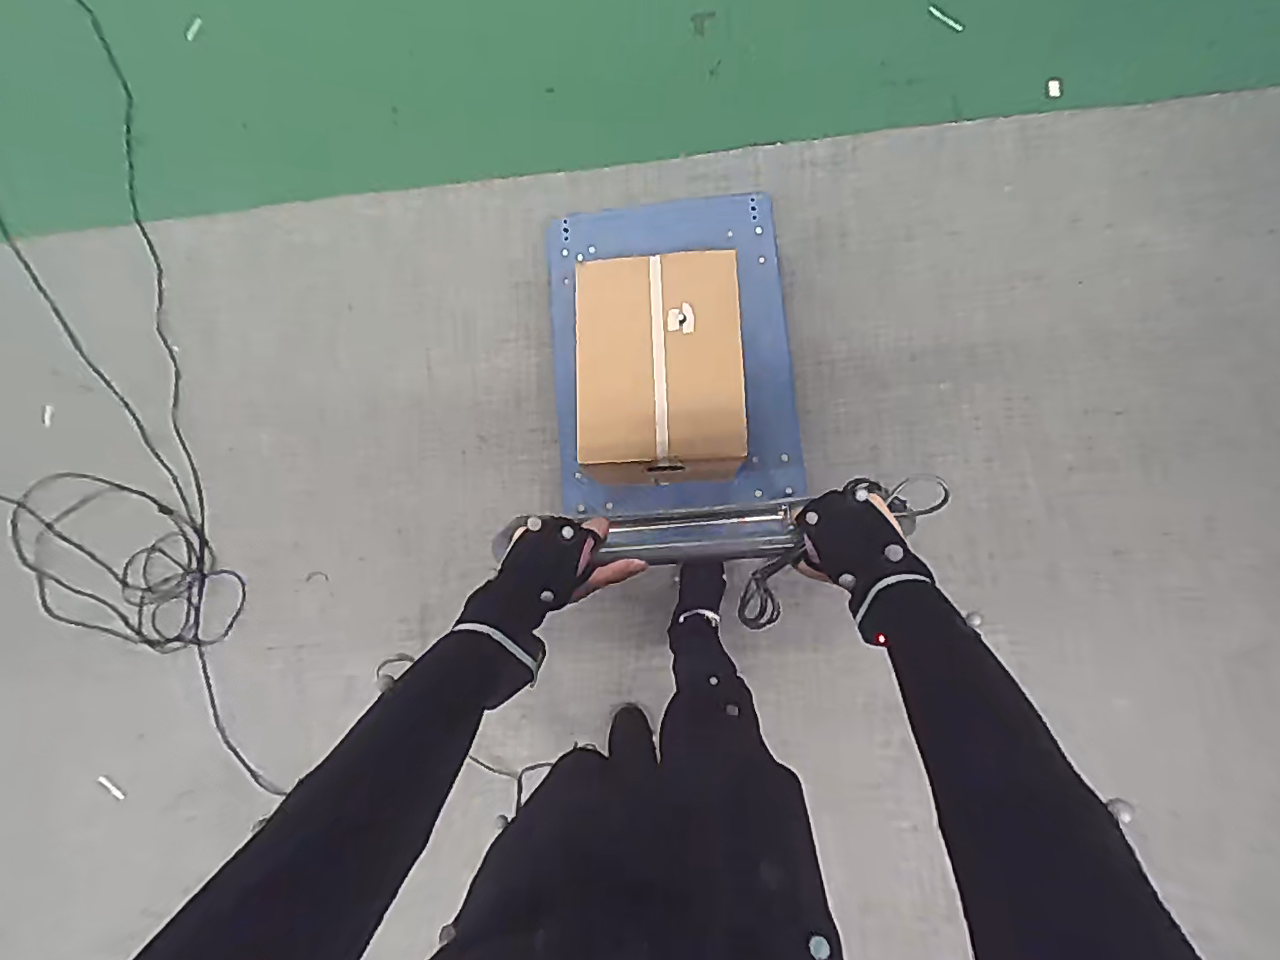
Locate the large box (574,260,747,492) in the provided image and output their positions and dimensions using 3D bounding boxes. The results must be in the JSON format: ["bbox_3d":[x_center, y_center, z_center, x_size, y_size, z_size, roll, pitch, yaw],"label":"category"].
[{"bbox_3d":[0.045,-0.196,1.164,0.320,0.320,0.408,-2,81,4],"label":"large box"}]
